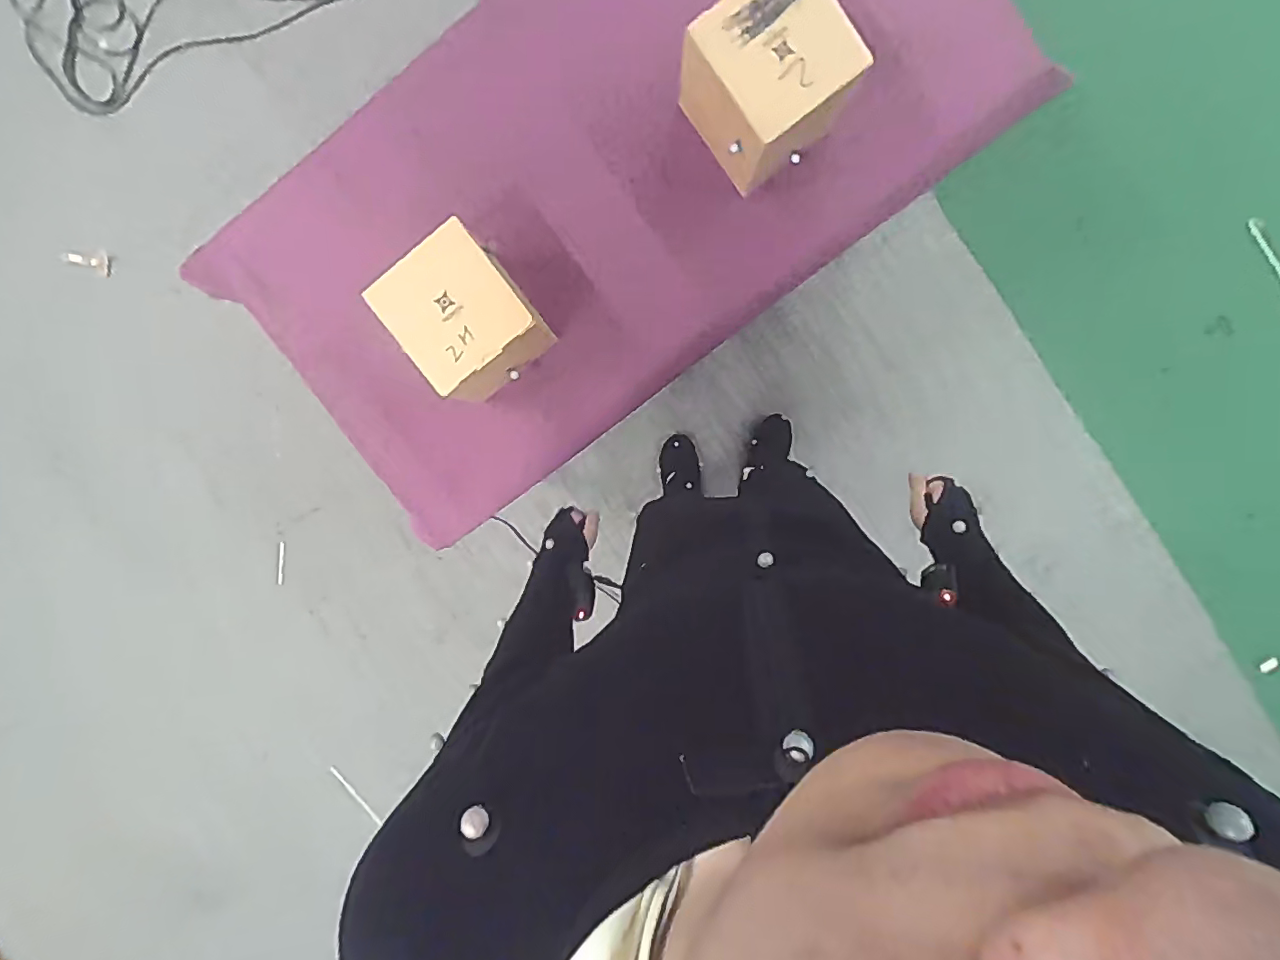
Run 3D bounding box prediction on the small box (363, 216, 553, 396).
[{"bbox_3d":[-0.253,-0.239,0.797,0.168,0.176,0.179,-37,94,6],"label":"small box"}]
